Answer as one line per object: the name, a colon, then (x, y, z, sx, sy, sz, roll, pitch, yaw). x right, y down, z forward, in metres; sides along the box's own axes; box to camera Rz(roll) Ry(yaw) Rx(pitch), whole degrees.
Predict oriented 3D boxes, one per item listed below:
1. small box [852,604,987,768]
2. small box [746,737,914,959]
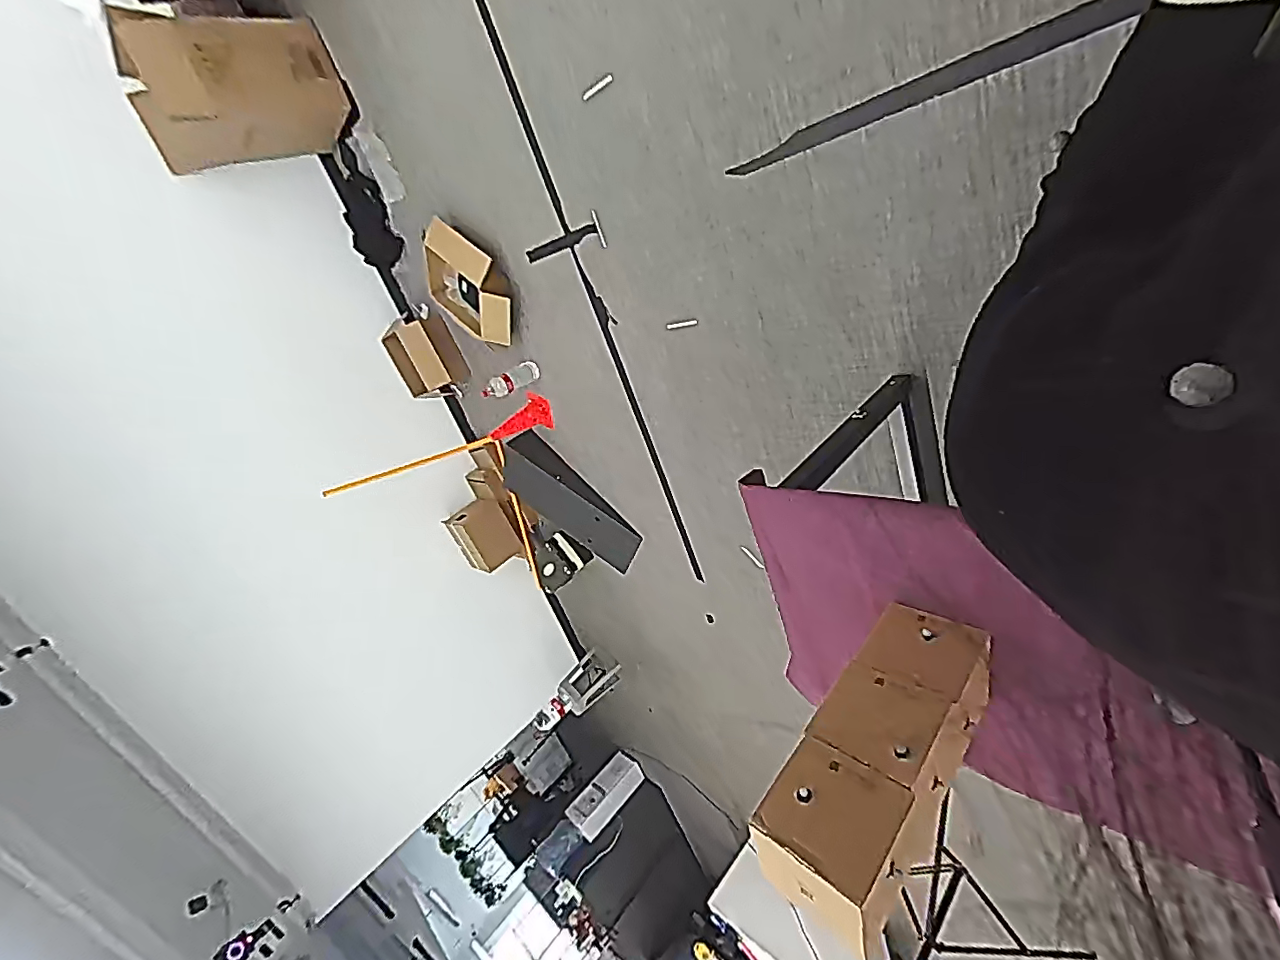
small box: (0.500, 0.356, 0.963, 0.168, 0.176, 0.179, 13, 130, 45)
small box: (0.279, 0.517, 0.783, 0.168, 0.176, 0.179, 16, 134, 45)
